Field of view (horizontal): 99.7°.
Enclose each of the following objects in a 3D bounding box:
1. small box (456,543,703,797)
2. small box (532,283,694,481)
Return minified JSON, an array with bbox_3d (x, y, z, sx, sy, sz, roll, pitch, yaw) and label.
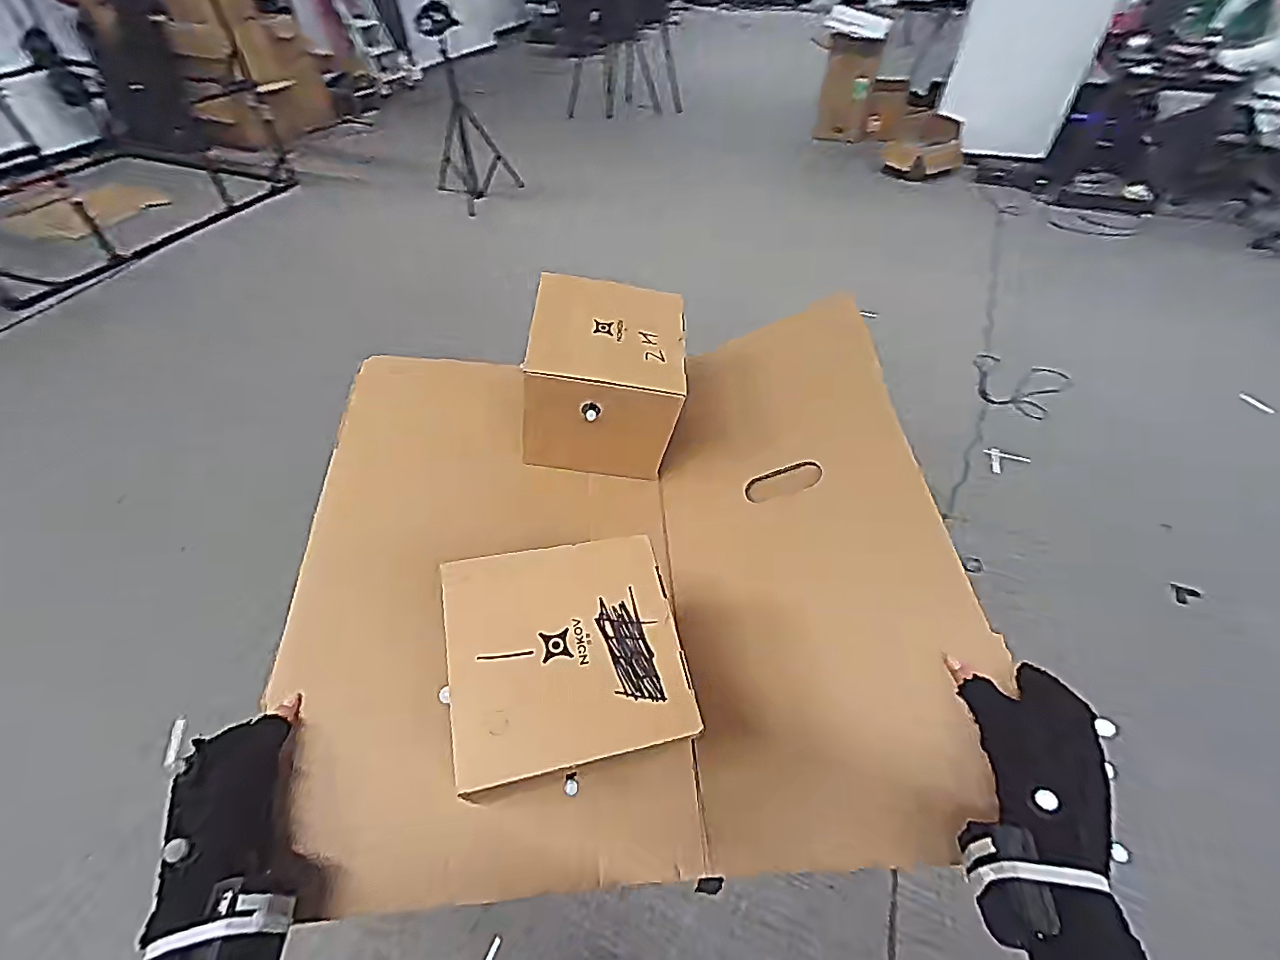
[{"bbox_3d":[-0.065,0.173,0.488,0.179,0.176,0.168,-6,59,-15],"label":"small box"},{"bbox_3d":[-0.038,-0.115,0.682,0.179,0.176,0.168,9,56,-8],"label":"small box"}]
